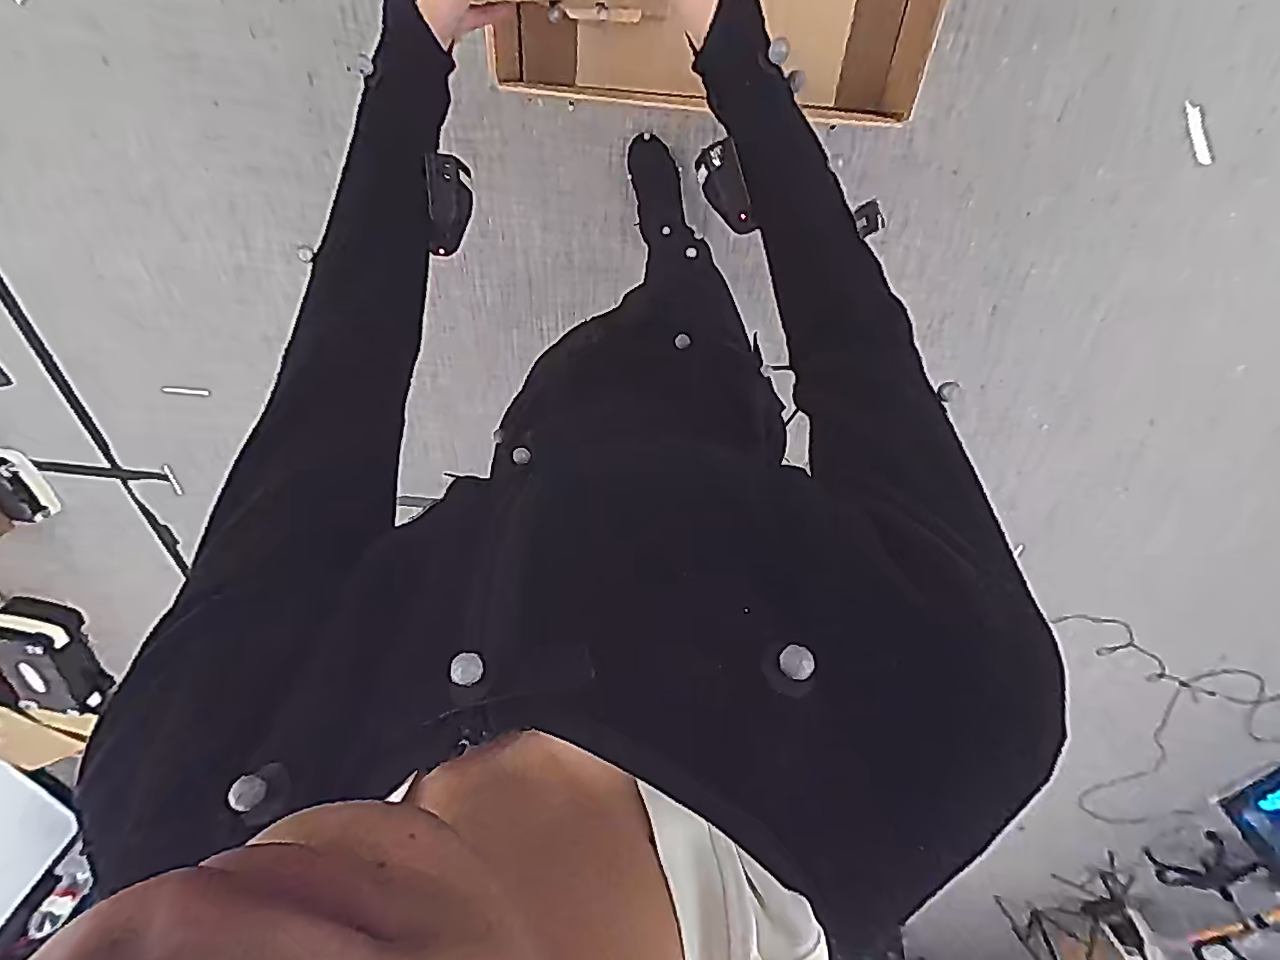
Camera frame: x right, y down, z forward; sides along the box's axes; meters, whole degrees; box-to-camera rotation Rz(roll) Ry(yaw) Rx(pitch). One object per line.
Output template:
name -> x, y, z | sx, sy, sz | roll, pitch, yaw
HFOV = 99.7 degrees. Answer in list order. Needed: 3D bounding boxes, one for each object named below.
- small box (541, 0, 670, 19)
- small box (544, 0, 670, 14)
small box -> -0.039, -0.735, 0.718 | 0.168, 0.176, 0.179 | 5, 126, 2
small box -> -0.046, -0.634, 0.588 | 0.168, 0.176, 0.179 | 4, 127, 3
